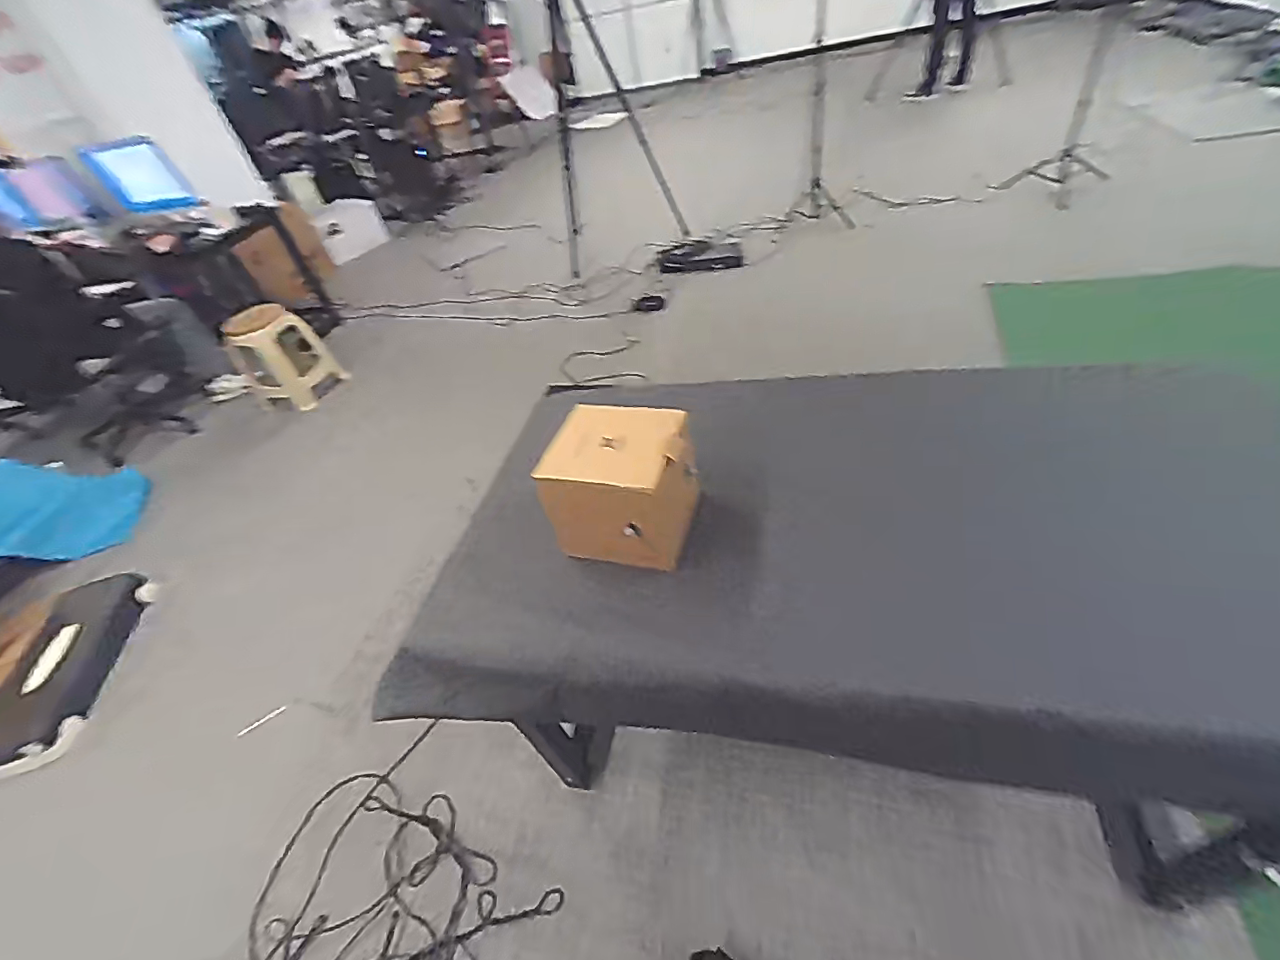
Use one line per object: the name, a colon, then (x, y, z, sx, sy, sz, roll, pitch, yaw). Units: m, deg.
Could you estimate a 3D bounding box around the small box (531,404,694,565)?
small box: (-0.026, 0.007, 0.795, 0.179, 0.176, 0.168, 4, 44, 20)
